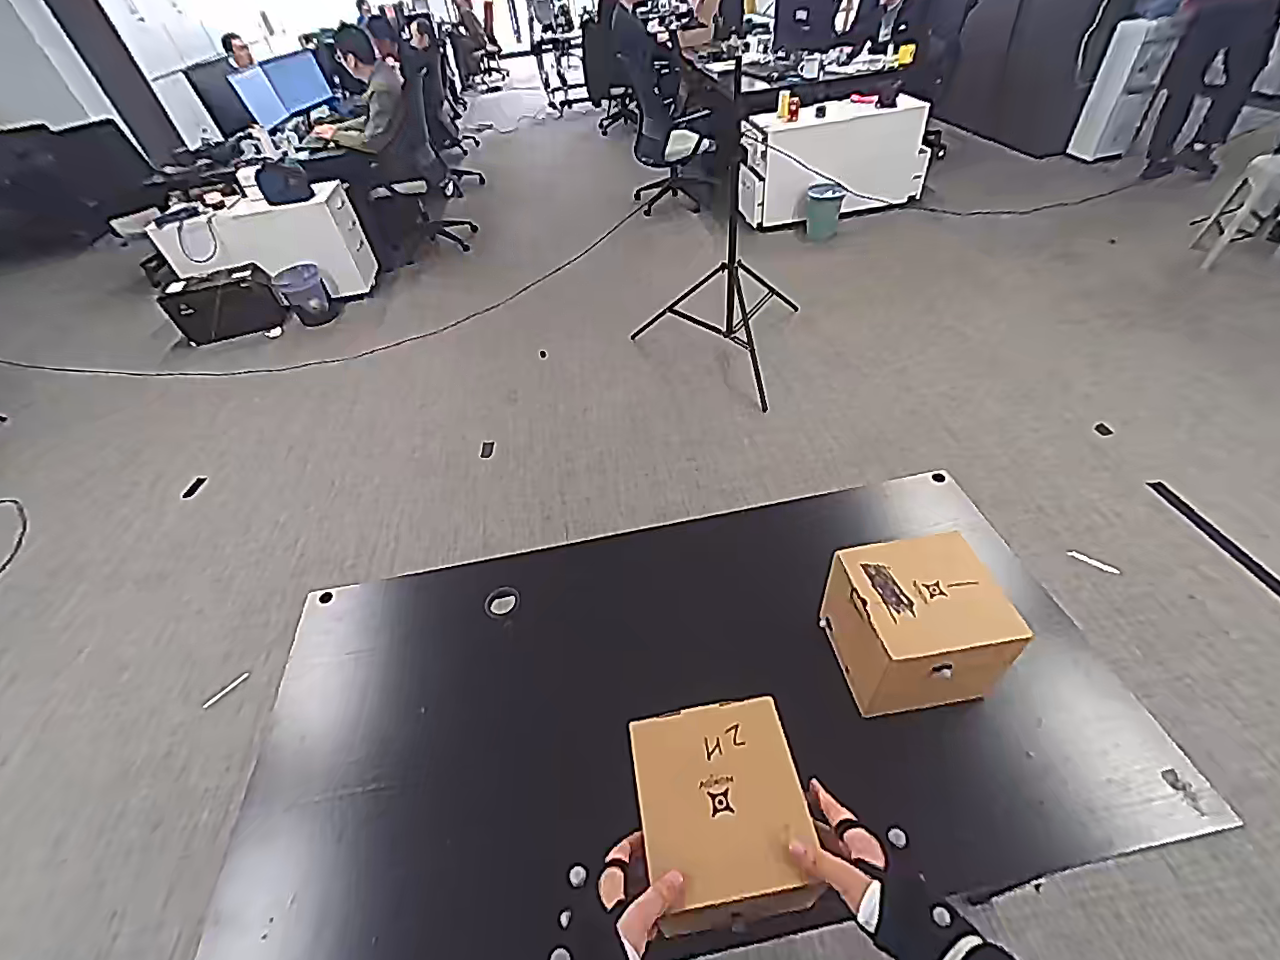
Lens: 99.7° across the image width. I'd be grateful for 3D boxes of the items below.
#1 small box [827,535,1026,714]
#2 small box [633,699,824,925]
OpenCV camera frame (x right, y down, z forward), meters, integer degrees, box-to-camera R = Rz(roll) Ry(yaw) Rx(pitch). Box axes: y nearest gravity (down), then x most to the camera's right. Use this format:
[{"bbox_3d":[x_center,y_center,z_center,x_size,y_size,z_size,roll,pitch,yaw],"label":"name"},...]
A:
[{"bbox_3d":[0.372,0.203,0.749,0.179,0.176,0.168,-9,45,-1],"label":"small box"},{"bbox_3d":[0.090,0.379,0.613,0.168,0.176,0.179,-9,44,-2],"label":"small box"}]
